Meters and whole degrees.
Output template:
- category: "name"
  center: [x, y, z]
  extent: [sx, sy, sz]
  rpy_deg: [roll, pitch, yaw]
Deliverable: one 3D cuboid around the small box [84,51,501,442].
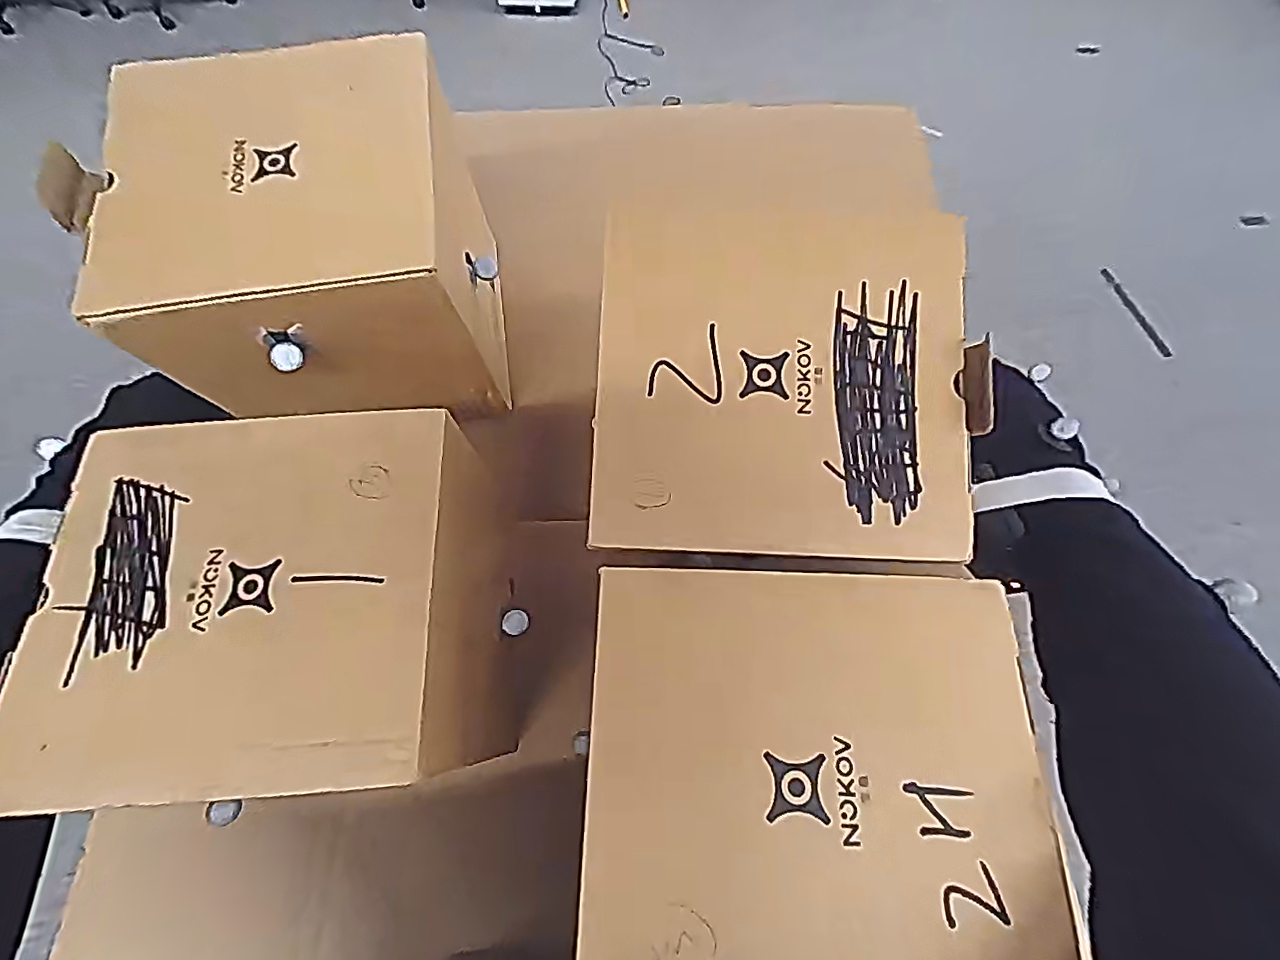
- category: "small box"
  center: [-0.200, -0.139, 0.369]
  extent: [0.179, 0.176, 0.168]
  rpy_deg: [-9, 72, -1]
